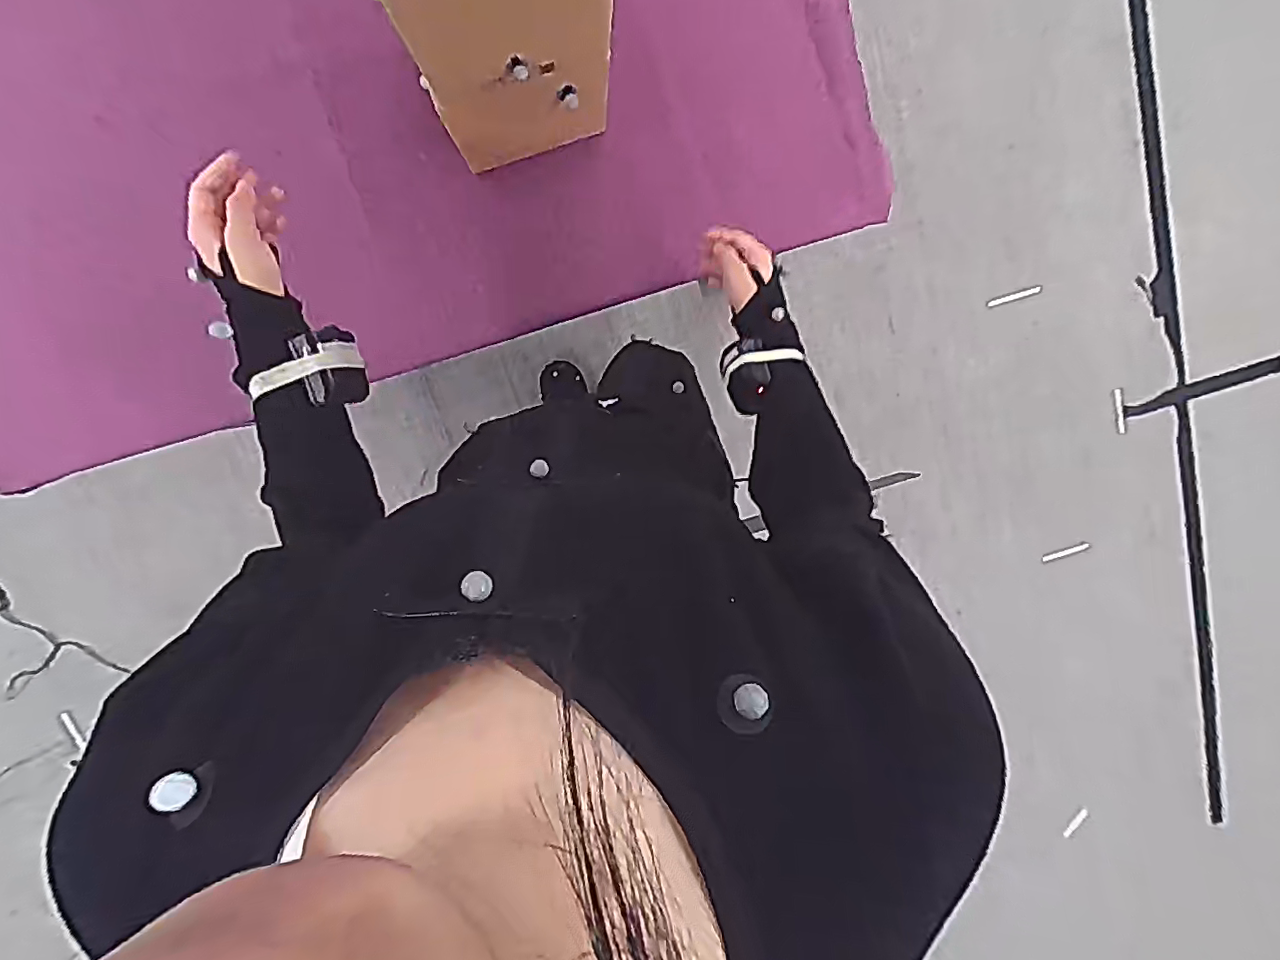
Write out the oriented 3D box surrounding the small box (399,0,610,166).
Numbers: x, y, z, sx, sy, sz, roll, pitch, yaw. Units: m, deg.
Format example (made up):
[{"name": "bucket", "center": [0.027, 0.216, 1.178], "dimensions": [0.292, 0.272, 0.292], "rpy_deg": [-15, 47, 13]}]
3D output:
[{"name": "small box", "center": [-0.141, -0.468, 0.571], "dimensions": [0.179, 0.176, 0.168], "rpy_deg": [-19, 101, -1]}]
